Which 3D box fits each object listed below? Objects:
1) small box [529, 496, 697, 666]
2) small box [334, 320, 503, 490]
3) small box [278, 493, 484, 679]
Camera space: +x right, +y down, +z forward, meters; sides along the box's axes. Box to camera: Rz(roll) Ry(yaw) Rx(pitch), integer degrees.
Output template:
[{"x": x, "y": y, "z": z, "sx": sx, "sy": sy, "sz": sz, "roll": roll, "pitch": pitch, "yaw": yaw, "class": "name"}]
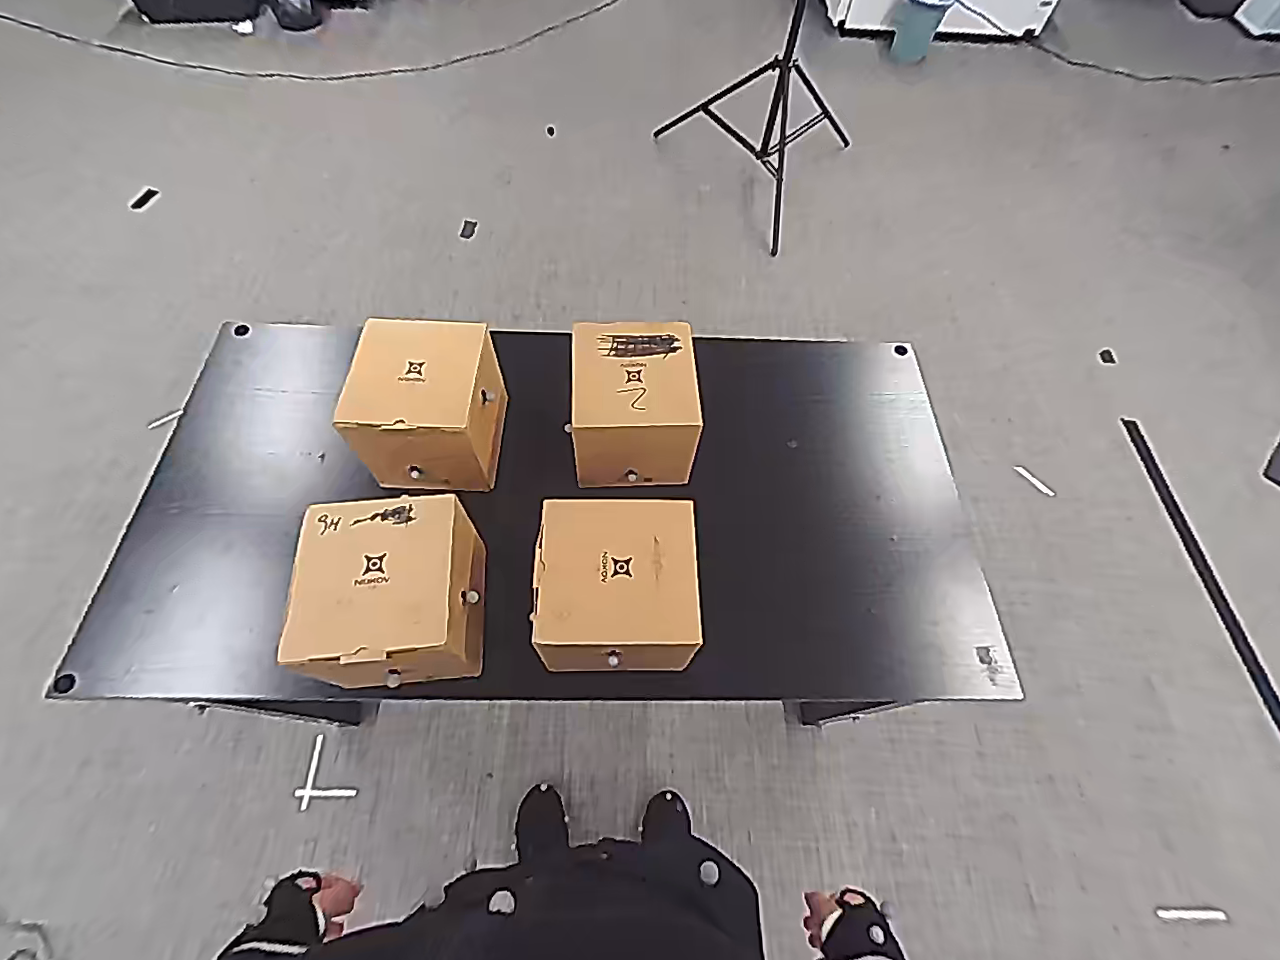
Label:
[{"x": -0.031, "y": 0.130, "z": 0.663, "sx": 0.179, "sy": 0.176, "sz": 0.168, "roll": 0, "pitch": 62, "yaw": -3, "class": "small box"}, {"x": -0.299, "y": -0.103, "z": 0.776, "sx": 0.168, "sy": 0.176, "sz": 0.179, "roll": 2, "pitch": 62, "yaw": -2, "class": "small box"}, {"x": -0.288, "y": 0.135, "z": 0.647, "sx": 0.168, "sy": 0.176, "sz": 0.179, "roll": -5, "pitch": 62, "yaw": -5, "class": "small box"}]
